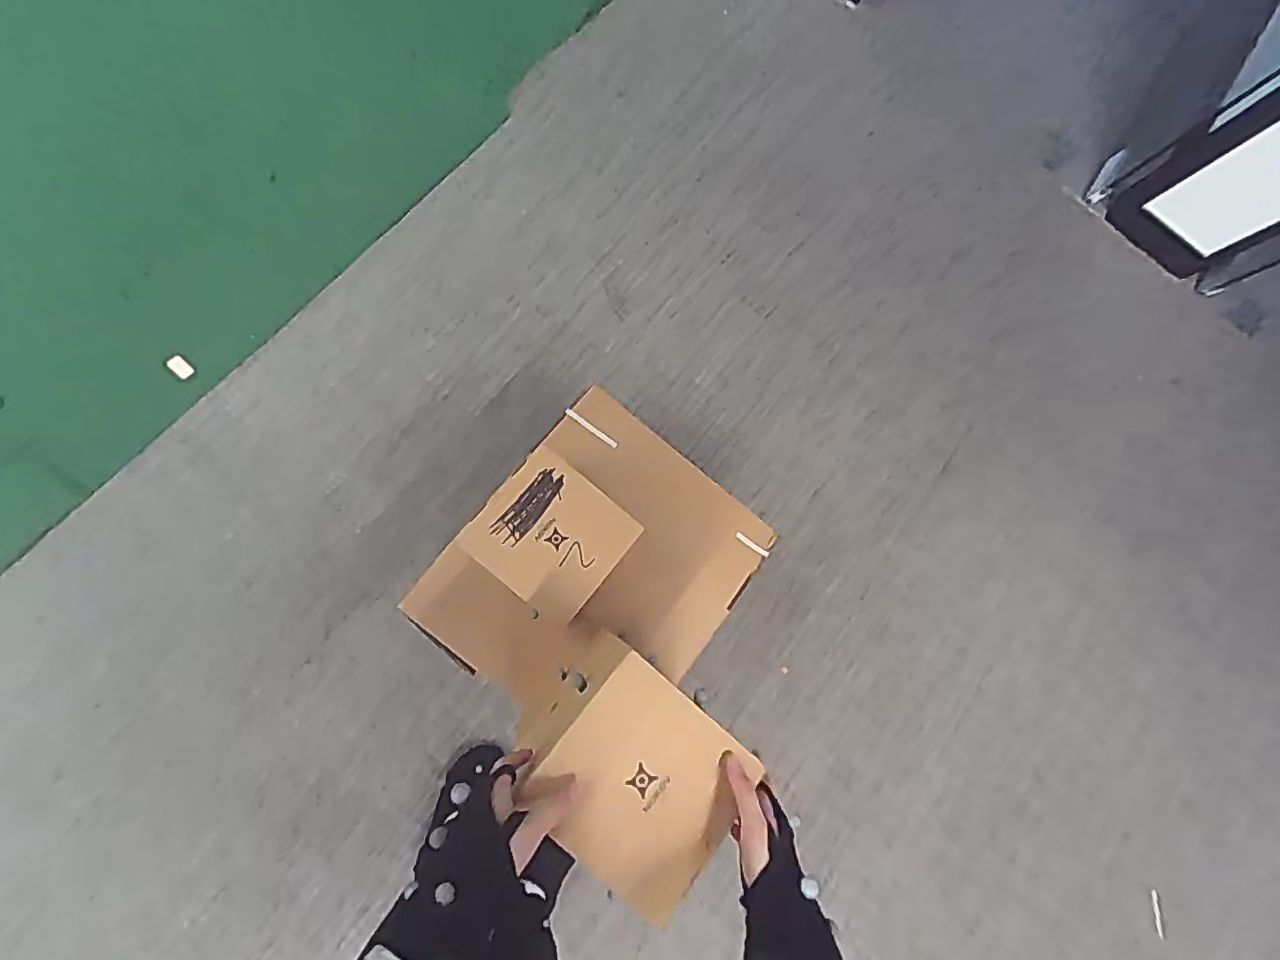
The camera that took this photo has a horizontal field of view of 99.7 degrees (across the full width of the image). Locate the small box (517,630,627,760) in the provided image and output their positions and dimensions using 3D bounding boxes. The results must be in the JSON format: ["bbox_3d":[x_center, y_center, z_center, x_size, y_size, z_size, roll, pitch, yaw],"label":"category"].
[{"bbox_3d":[-0.047,0.320,0.723,0.168,0.176,0.179,41,75,-2],"label":"small box"}]

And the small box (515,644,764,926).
[{"bbox_3d":[-0.012,0.290,0.566,0.179,0.176,0.168,42,74,-2],"label":"small box"}]
